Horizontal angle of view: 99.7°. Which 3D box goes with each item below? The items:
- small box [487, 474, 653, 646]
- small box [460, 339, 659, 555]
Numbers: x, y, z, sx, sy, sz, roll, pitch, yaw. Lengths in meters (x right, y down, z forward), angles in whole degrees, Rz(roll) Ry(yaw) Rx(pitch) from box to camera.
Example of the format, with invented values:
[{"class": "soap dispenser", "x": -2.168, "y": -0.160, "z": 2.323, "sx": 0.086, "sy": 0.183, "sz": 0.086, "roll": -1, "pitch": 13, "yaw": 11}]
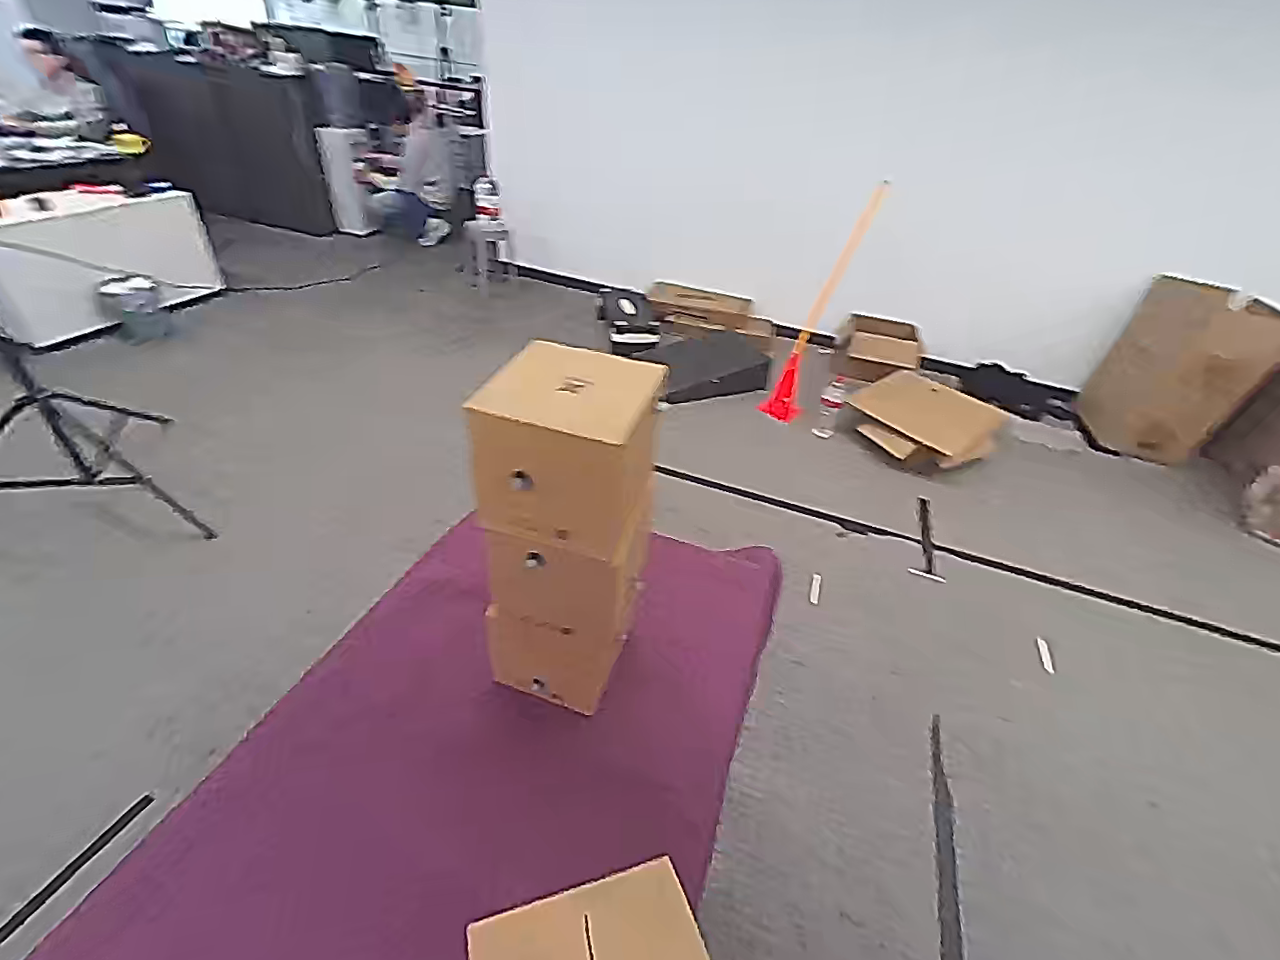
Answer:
[{"class": "small box", "x": -0.089, "y": 0.089, "z": 0.730, "sx": 0.168, "sy": 0.176, "sz": 0.179, "roll": 13, "pitch": 38, "yaw": 9}, {"class": "small box", "x": -0.082, "y": -0.040, "z": 0.630, "sx": 0.168, "sy": 0.176, "sz": 0.179, "roll": 14, "pitch": 39, "yaw": 9}]
